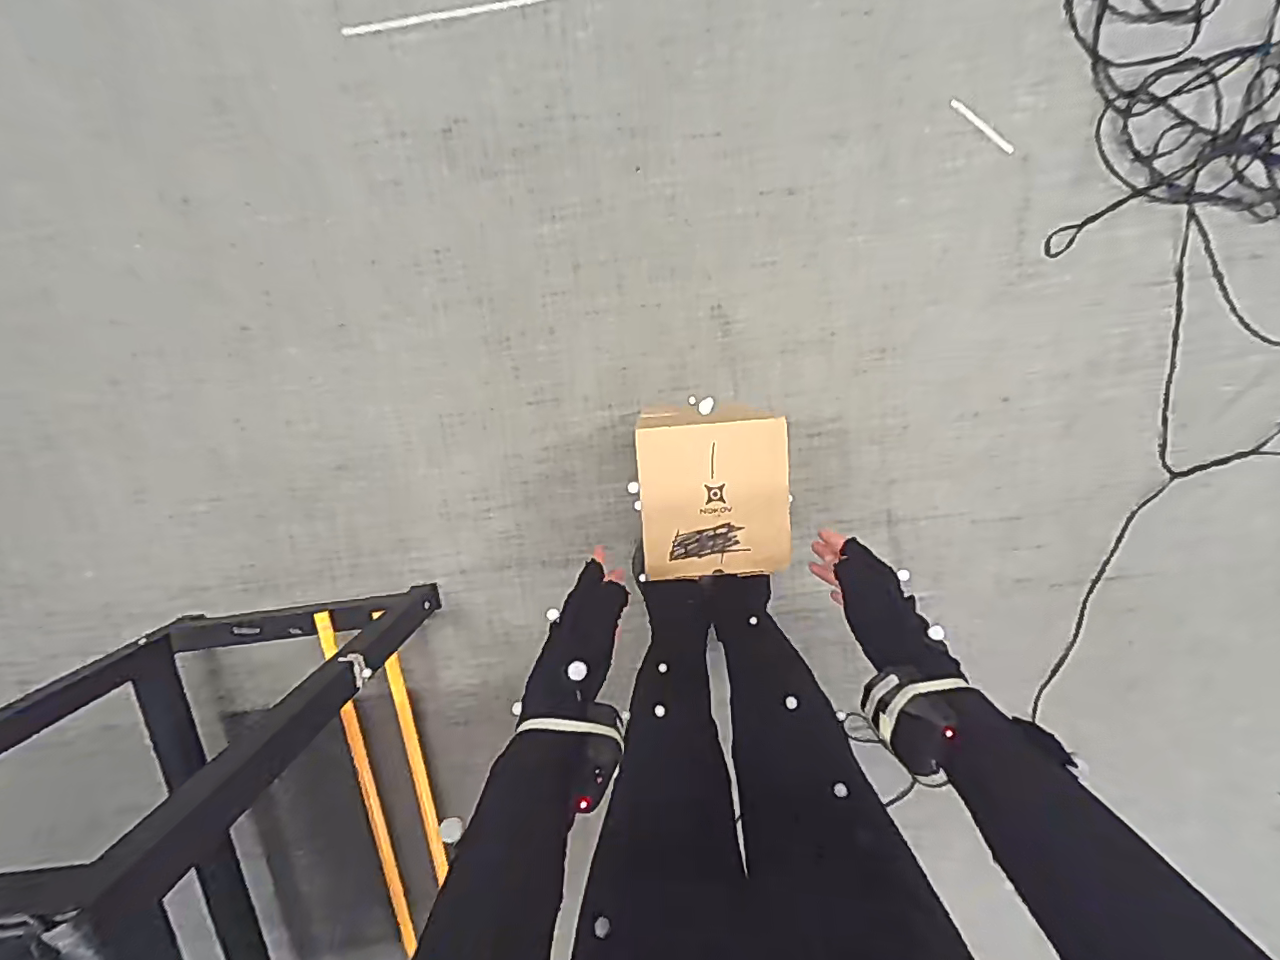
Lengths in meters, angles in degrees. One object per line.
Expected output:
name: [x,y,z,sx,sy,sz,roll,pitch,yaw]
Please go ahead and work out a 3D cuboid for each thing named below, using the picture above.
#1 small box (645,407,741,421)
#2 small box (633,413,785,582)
small box: [0.093,-0.046,1.000,0.168,0.176,0.179,-2,100,3]
small box: [0.082,0.013,0.679,0.168,0.176,0.179,-4,100,2]
